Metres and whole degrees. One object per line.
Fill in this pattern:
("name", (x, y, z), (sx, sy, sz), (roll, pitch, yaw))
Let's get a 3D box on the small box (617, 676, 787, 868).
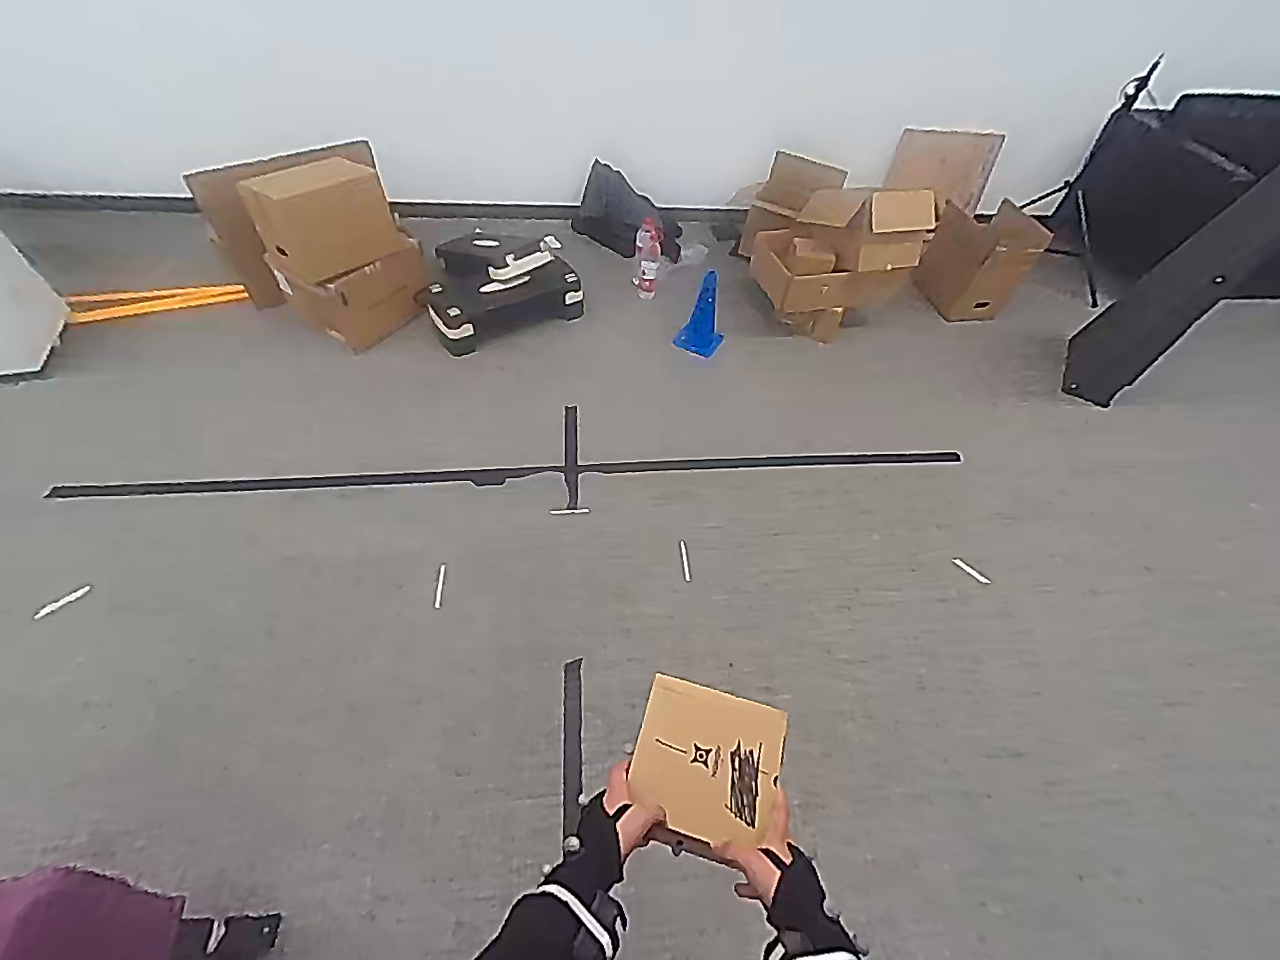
("small box", (0.076, 0.386, 0.709), (0.179, 0.176, 0.168), (15, 52, 8))
